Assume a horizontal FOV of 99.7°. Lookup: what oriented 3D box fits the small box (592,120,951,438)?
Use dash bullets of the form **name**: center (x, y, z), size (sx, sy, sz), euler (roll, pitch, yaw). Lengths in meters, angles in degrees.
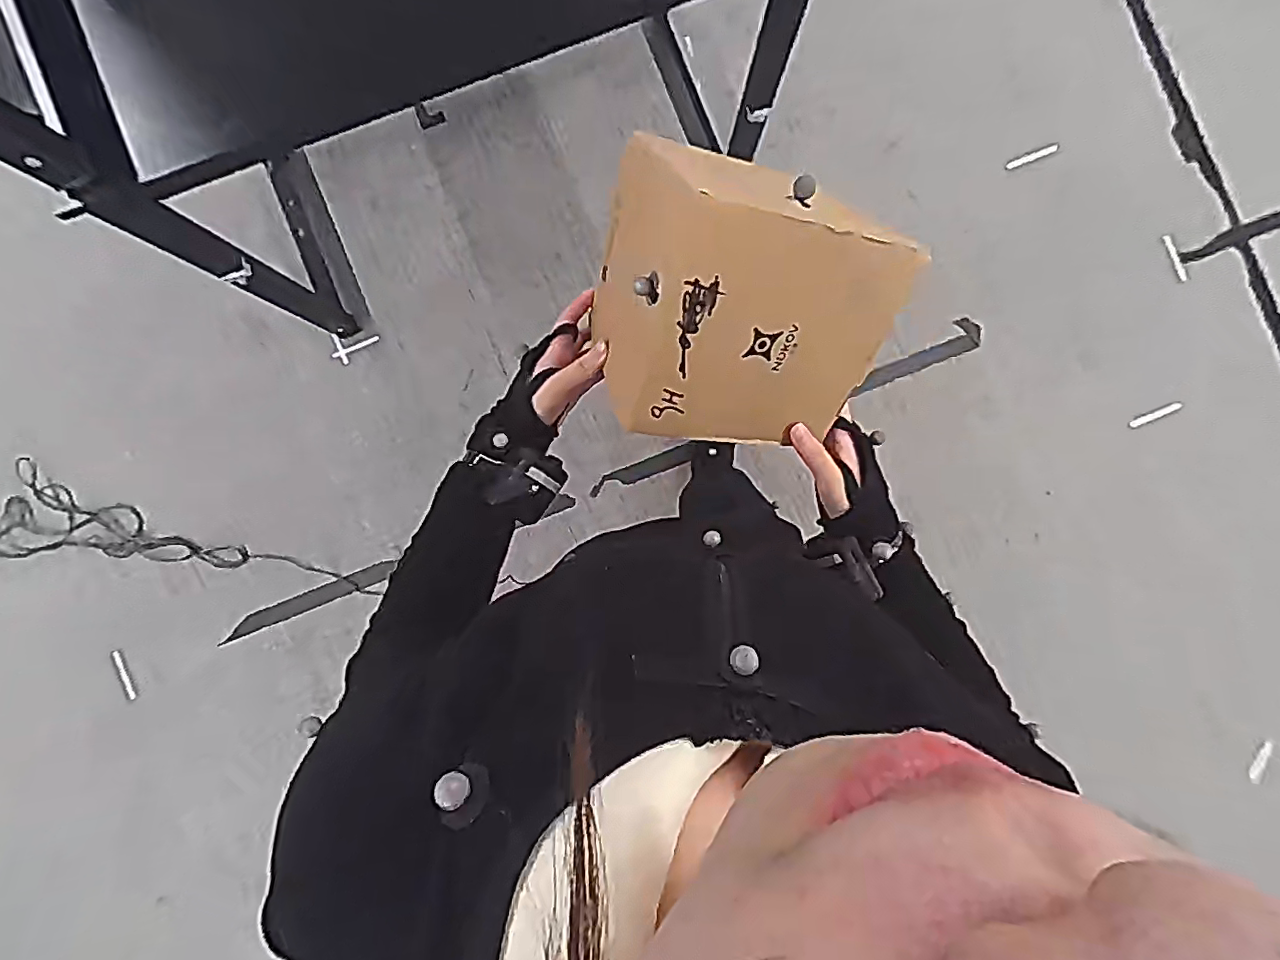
- **small box**: center (0.076, -0.150, 0.413), size (0.179, 0.176, 0.168), euler (2, 130, -21)
